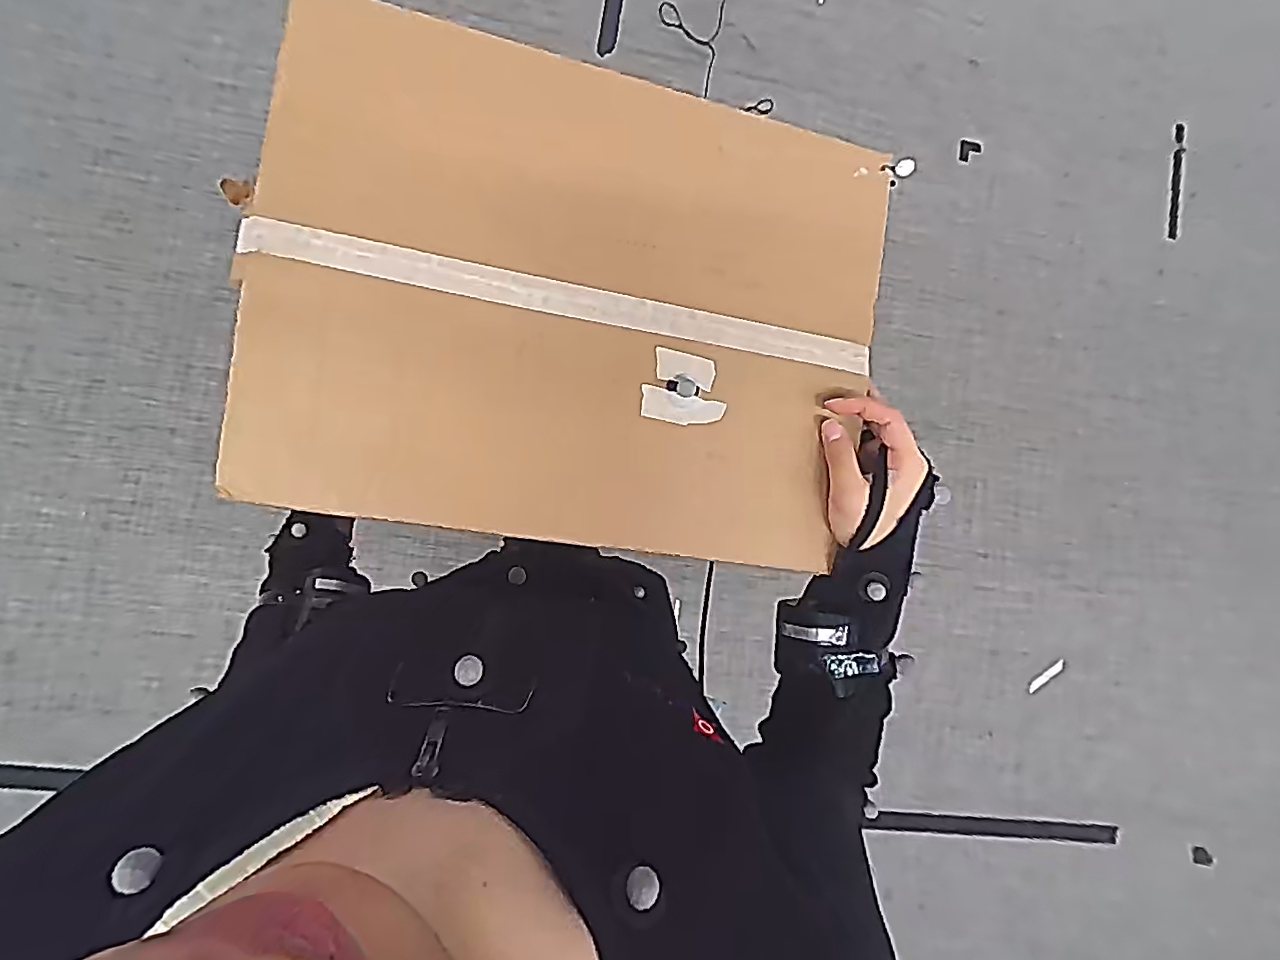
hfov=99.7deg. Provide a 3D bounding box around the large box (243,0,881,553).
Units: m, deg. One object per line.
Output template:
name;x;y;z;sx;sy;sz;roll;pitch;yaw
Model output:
large box;-0.060;-0.121;0.509;0.408;0.320;0.320;8;90;-13
